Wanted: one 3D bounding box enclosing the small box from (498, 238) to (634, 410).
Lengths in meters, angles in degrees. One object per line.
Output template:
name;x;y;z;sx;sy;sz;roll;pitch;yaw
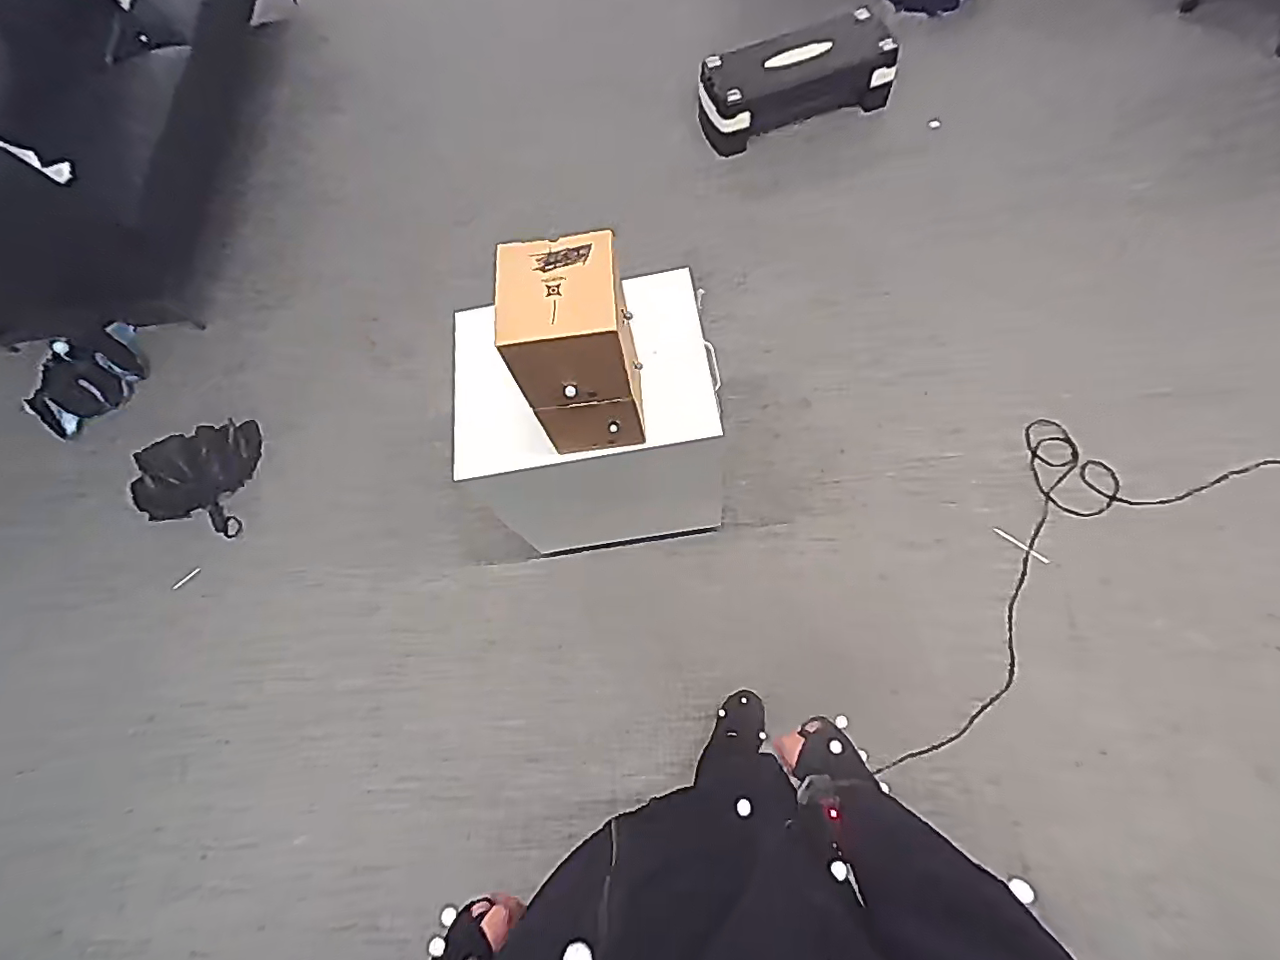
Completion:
small box;-0.102;-0.226;0.810;0.168;0.176;0.179;-6;67;5

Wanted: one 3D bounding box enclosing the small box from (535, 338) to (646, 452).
small box;-0.083;-0.161;0.959;0.168;0.176;0.179;-6;65;4
